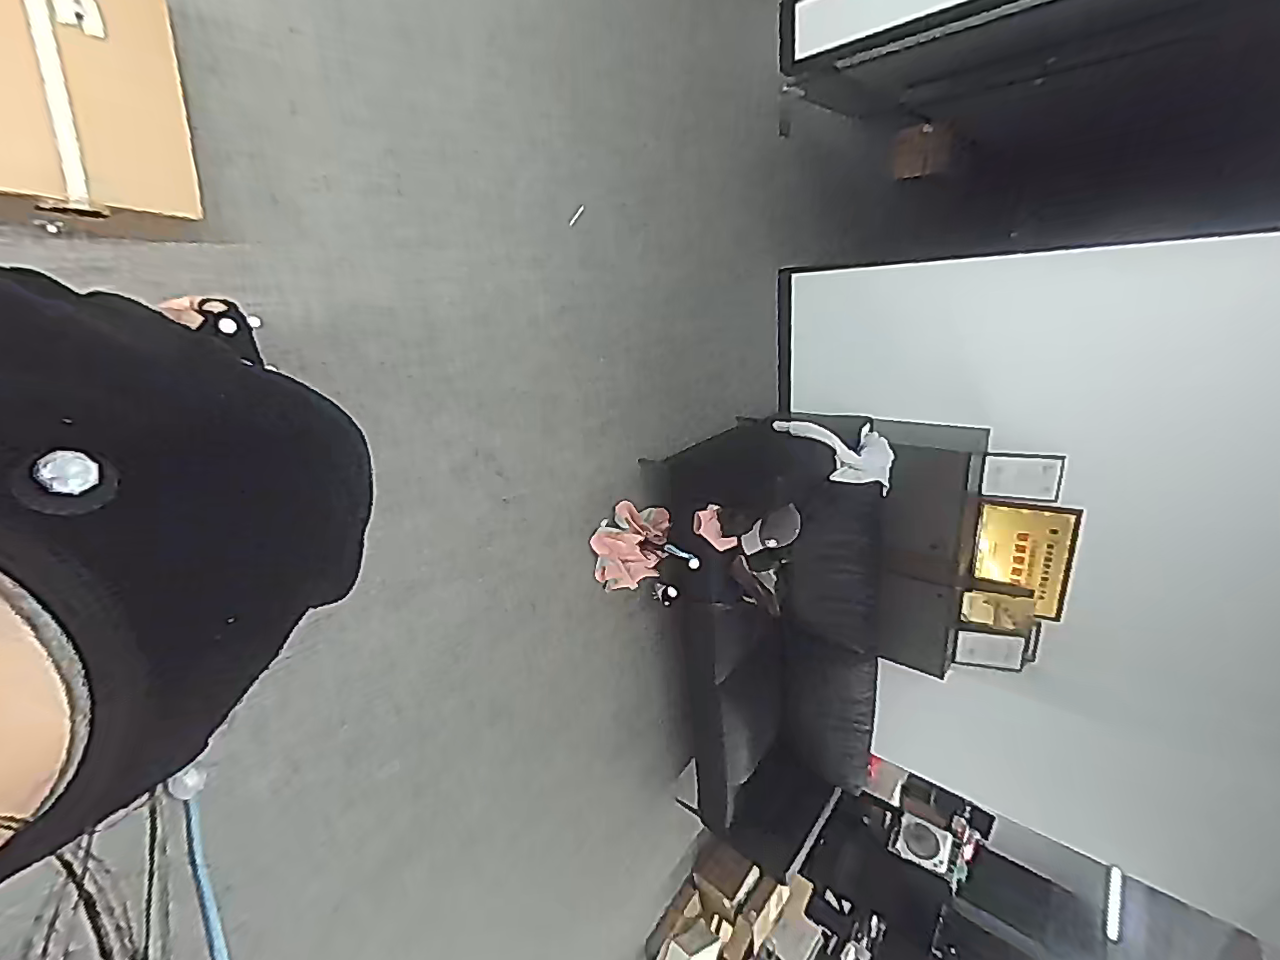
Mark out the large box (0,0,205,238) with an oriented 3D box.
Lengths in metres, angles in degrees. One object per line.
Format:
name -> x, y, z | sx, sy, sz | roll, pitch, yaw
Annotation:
large box -> -0.972, -0.645, 0.882 | 0.320, 0.320, 0.408 | -15, 110, -47
